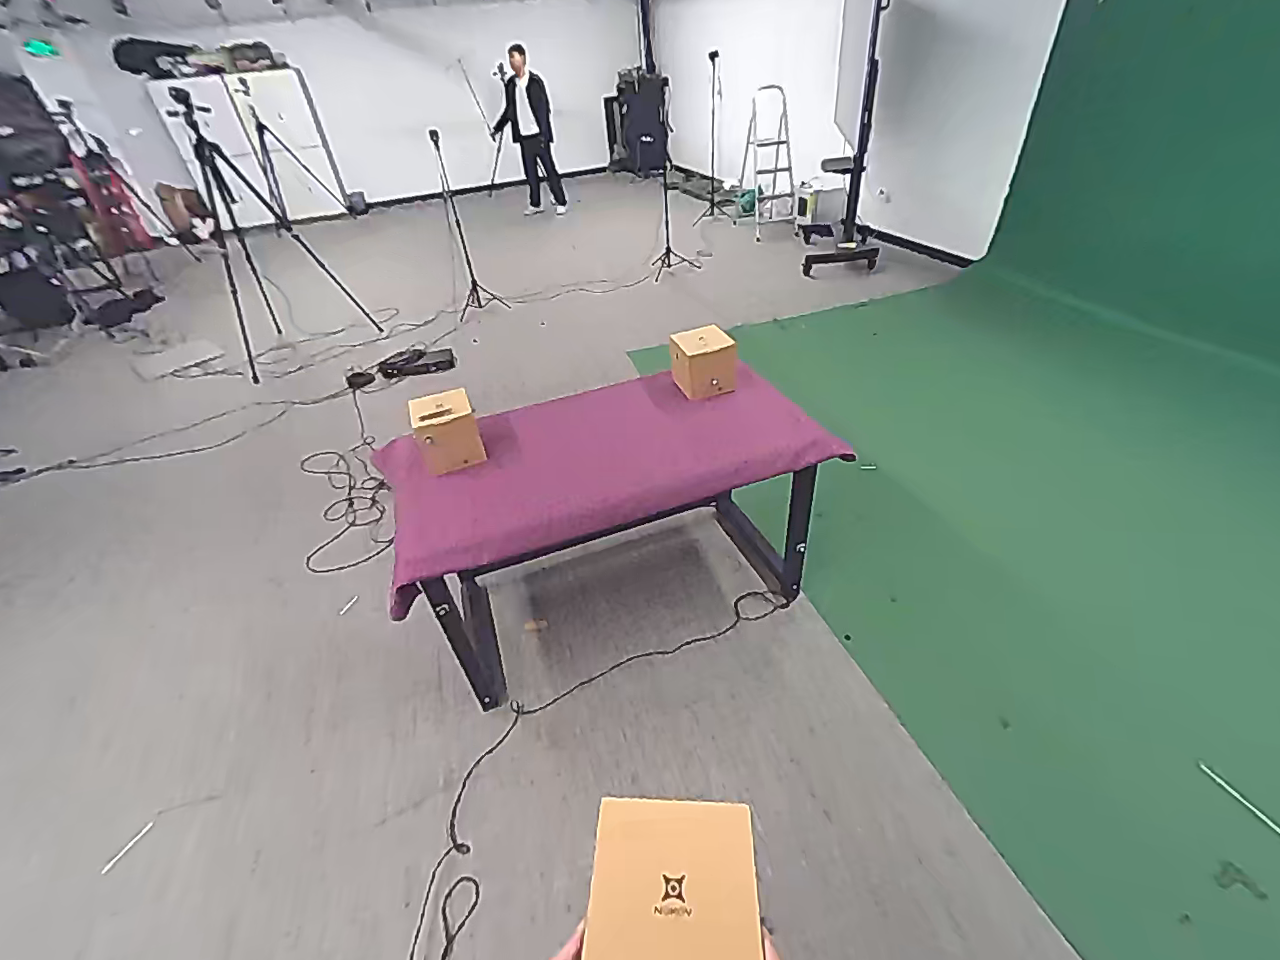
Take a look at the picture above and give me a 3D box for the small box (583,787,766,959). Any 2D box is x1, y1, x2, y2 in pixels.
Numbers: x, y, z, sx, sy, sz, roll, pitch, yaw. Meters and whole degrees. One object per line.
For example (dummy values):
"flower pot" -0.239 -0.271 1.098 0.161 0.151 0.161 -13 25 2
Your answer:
"small box" 0.036 0.460 0.574 0.168 0.176 0.179 1 36 4

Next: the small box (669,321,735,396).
"small box" 0.204 -0.403 1.792 0.168 0.176 0.179 -17 41 -10
